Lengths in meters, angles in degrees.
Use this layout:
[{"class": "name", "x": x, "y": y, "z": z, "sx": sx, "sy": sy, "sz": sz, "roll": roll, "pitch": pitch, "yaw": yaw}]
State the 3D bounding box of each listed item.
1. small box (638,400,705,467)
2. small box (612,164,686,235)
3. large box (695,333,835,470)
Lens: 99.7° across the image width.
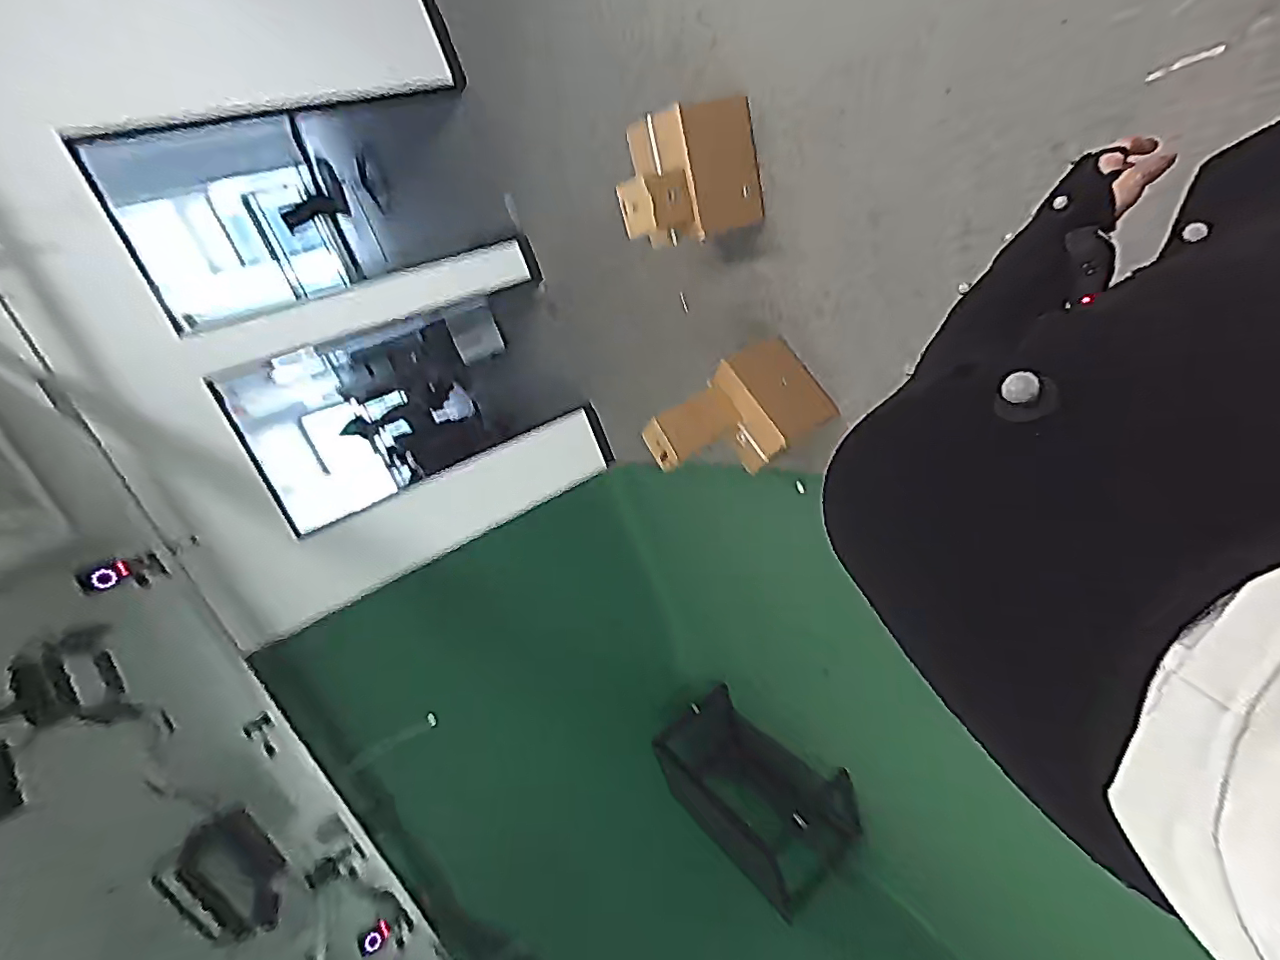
[{"class": "small box", "x": 0.125, "y": -0.181, "z": 2.101, "sx": 0.179, "sy": 0.176, "sz": 0.168, "roll": 59, "pitch": 155, "yaw": 6}, {"class": "small box", "x": 0.039, "y": -0.960, "z": 1.848, "sx": 0.179, "sy": 0.176, "sz": 0.168, "roll": 17, "pitch": 130, "yaw": 54}, {"class": "large box", "x": 0.501, "y": -0.322, "z": 2.220, "sx": 0.408, "sy": 0.320, "sz": 0.320, "roll": 54, "pitch": 155, "yaw": 11}]
